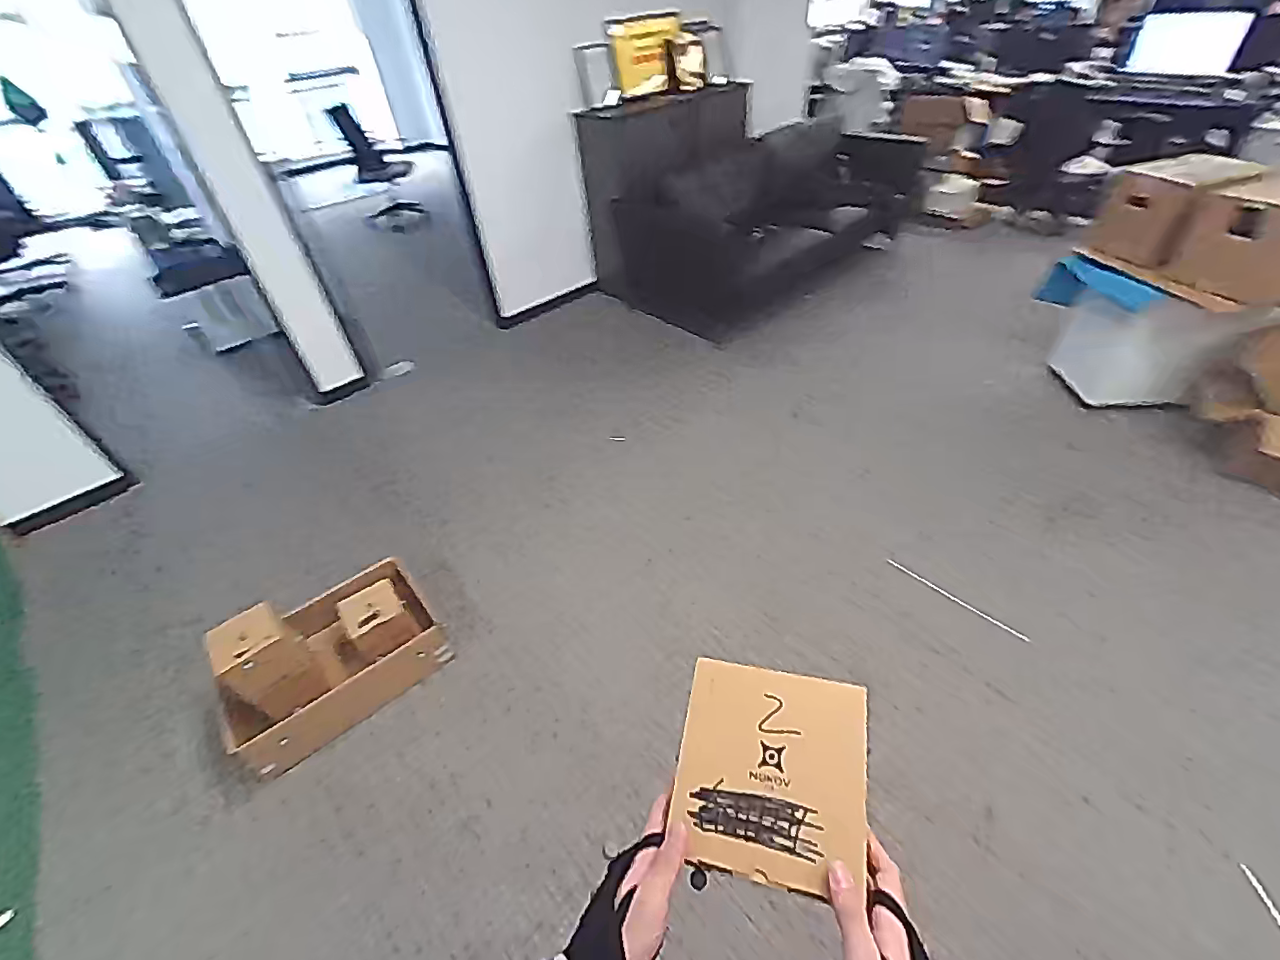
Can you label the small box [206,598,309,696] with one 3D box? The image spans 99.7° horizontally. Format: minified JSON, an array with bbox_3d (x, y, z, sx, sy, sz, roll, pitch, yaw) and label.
[{"bbox_3d":[-1.102,0.485,1.563,0.168,0.176,0.179,-34,49,-27],"label":"small box"}]
